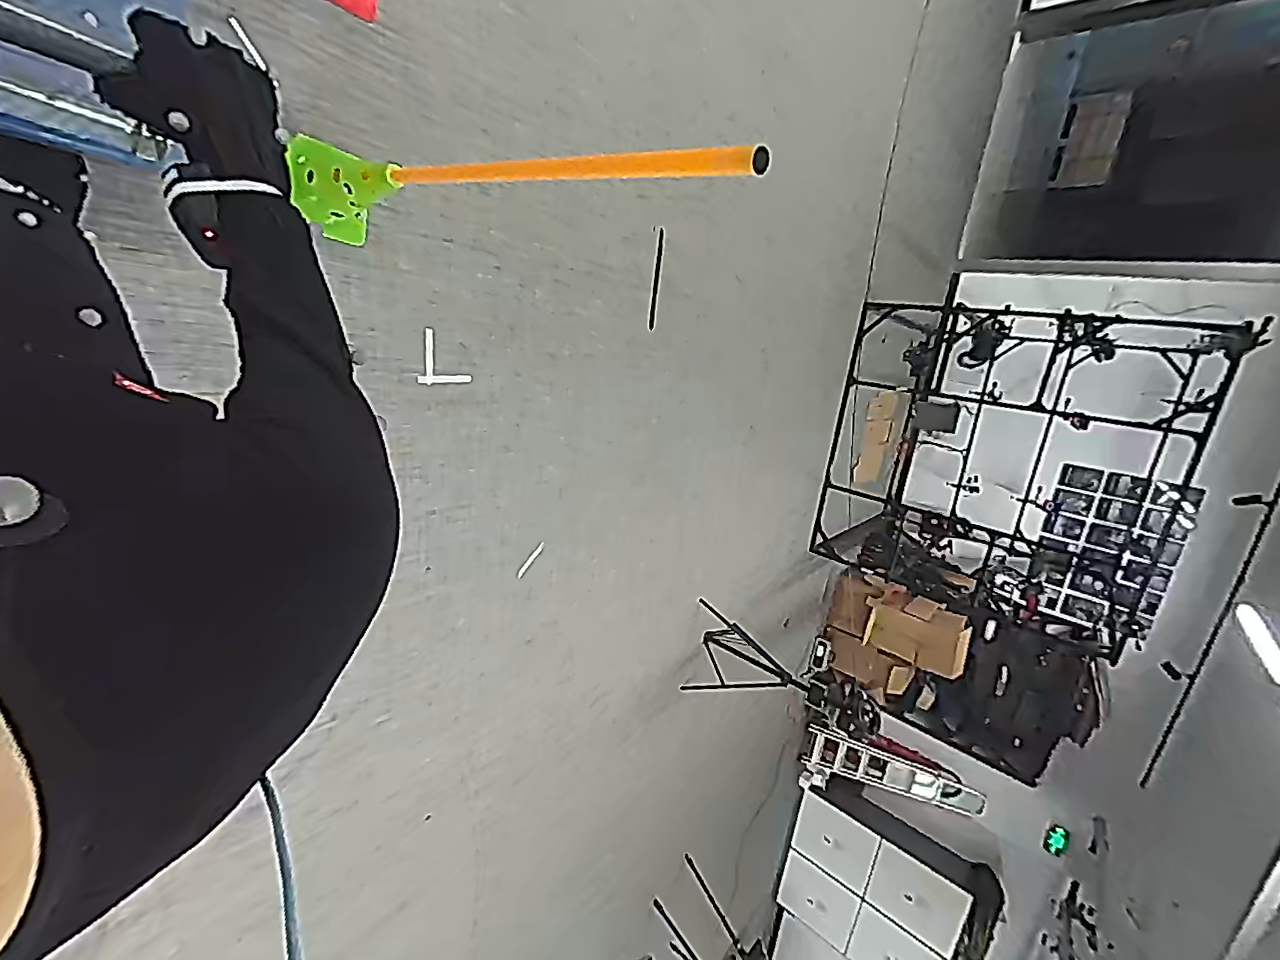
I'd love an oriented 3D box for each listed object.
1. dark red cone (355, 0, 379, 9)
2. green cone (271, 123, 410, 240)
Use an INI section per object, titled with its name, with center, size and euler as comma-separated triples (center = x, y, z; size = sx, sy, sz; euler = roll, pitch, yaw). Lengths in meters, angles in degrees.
[dark red cone]
center = -0.518, -1.101, 1.034
size = 0.201, 0.394, 0.202
euler = -11, 114, -51
[green cone]
center = -0.607, -0.639, 1.151
size = 0.202, 0.368, 0.200
euler = -5, 109, -52
